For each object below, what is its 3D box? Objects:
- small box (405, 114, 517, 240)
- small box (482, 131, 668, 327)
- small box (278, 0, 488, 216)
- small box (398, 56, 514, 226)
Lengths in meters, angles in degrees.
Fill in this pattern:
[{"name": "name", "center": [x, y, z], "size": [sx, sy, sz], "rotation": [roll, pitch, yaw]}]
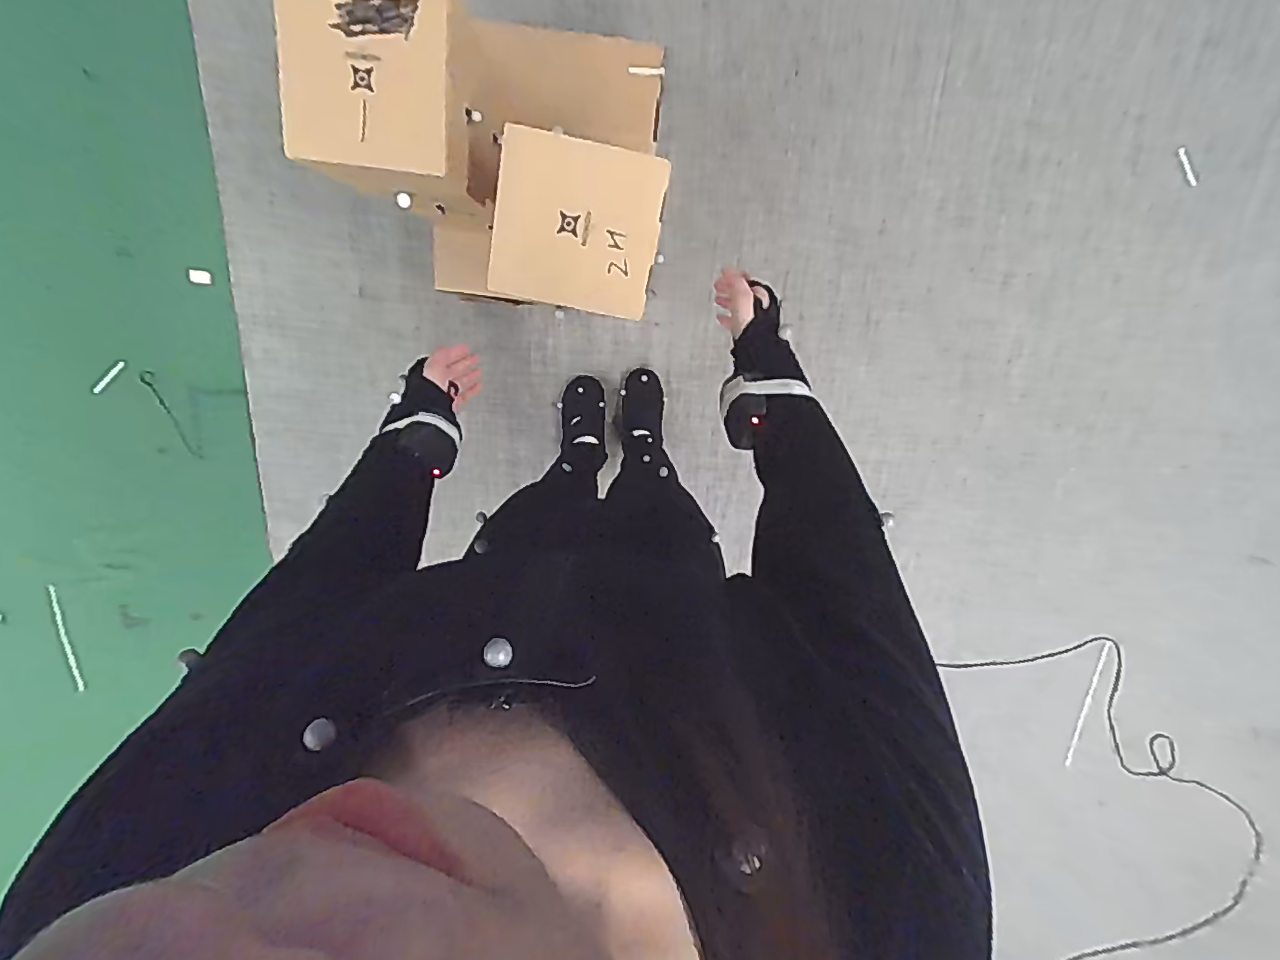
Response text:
[{"name": "small box", "center": [-0.288, -0.516, 0.927], "size": [0.168, 0.176, 0.179], "rotation": [6, 104, -3]}, {"name": "small box", "center": [-0.073, -0.283, 0.651], "size": [0.179, 0.176, 0.168], "rotation": [11, 106, -5]}, {"name": "small box", "center": [-0.276, -0.421, 0.615], "size": [0.168, 0.176, 0.179], "rotation": [7, 106, -3]}, {"name": "small box", "center": [-0.279, -0.476, 0.769], "size": [0.168, 0.176, 0.179], "rotation": [6, 106, -4]}]
